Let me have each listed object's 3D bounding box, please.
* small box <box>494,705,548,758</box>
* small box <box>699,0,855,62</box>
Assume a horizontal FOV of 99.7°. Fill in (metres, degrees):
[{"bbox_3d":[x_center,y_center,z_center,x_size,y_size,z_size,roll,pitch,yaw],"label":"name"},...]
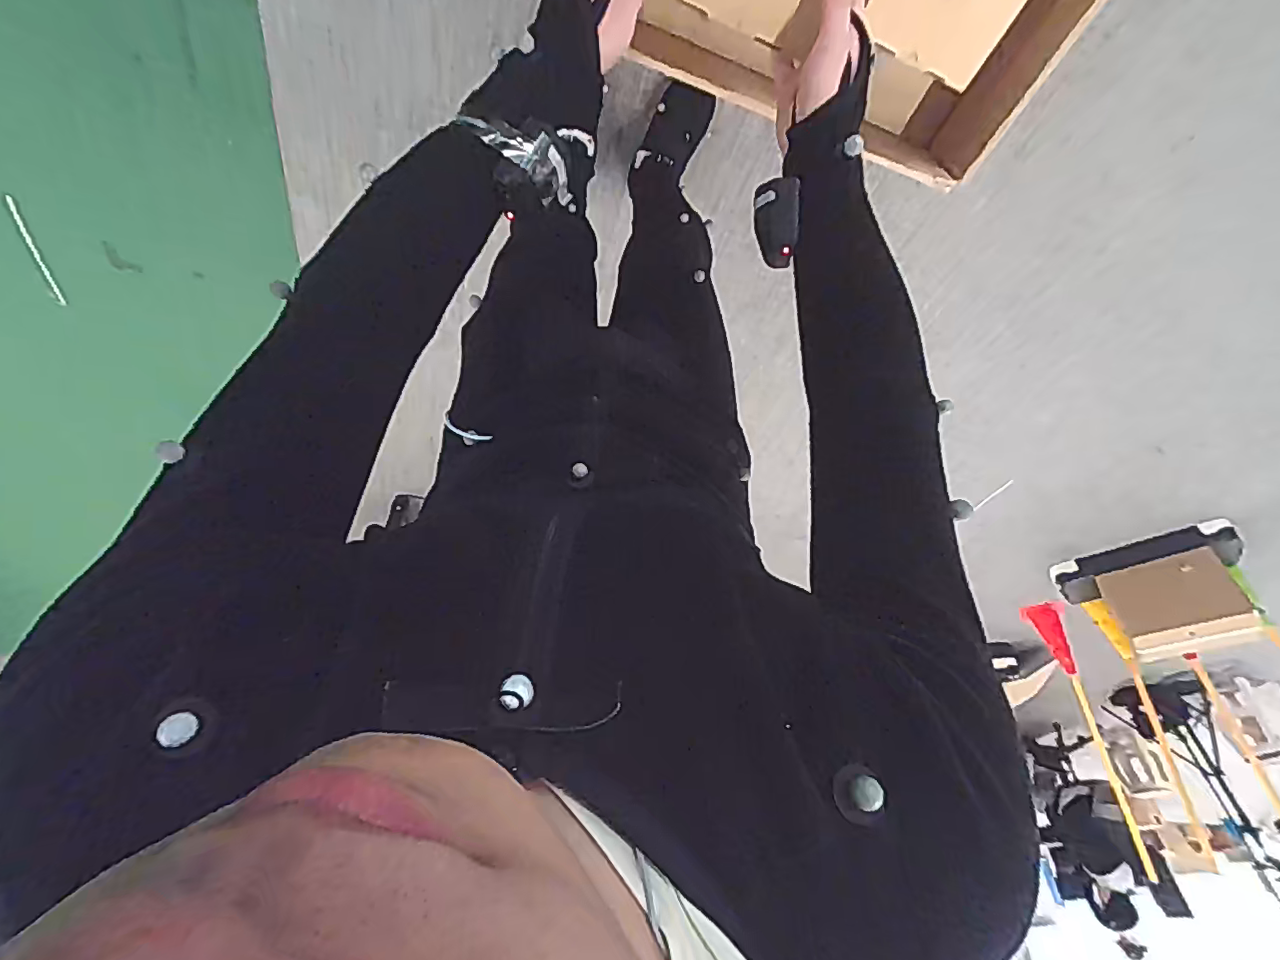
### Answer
[{"bbox_3d":[-0.433,0.930,1.962,0.168,0.176,0.179,10,140,-12],"label":"small box"},{"bbox_3d":[0.105,-0.484,0.424,0.168,0.176,0.179,11,139,-18],"label":"small box"}]
